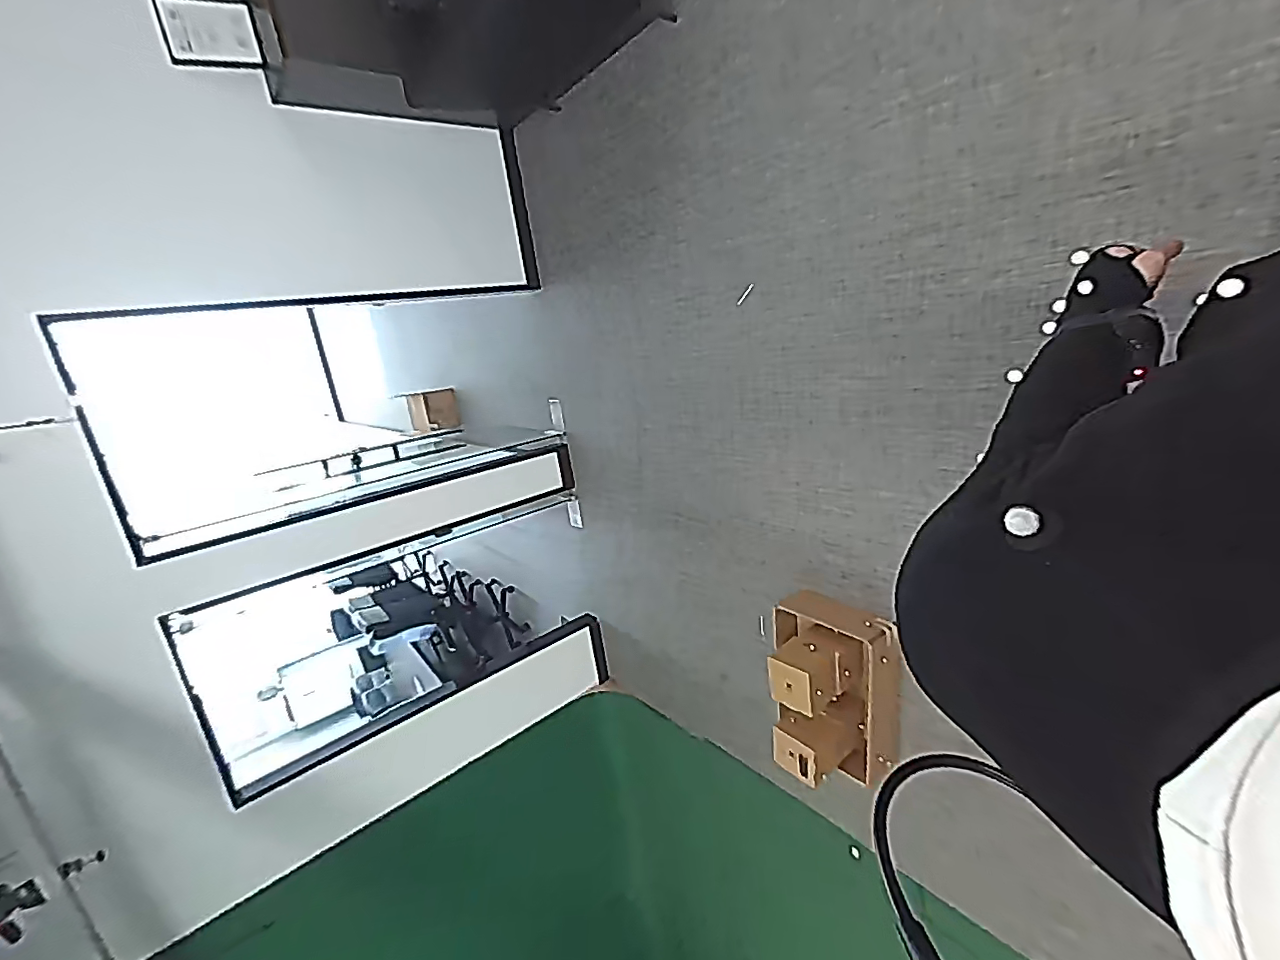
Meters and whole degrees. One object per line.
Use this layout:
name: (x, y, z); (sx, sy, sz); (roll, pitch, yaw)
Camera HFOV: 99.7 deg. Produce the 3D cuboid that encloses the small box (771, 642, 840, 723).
small box: (0.580, 0.697, 1.881); (0.168, 0.176, 0.179); (10, 113, 49)
